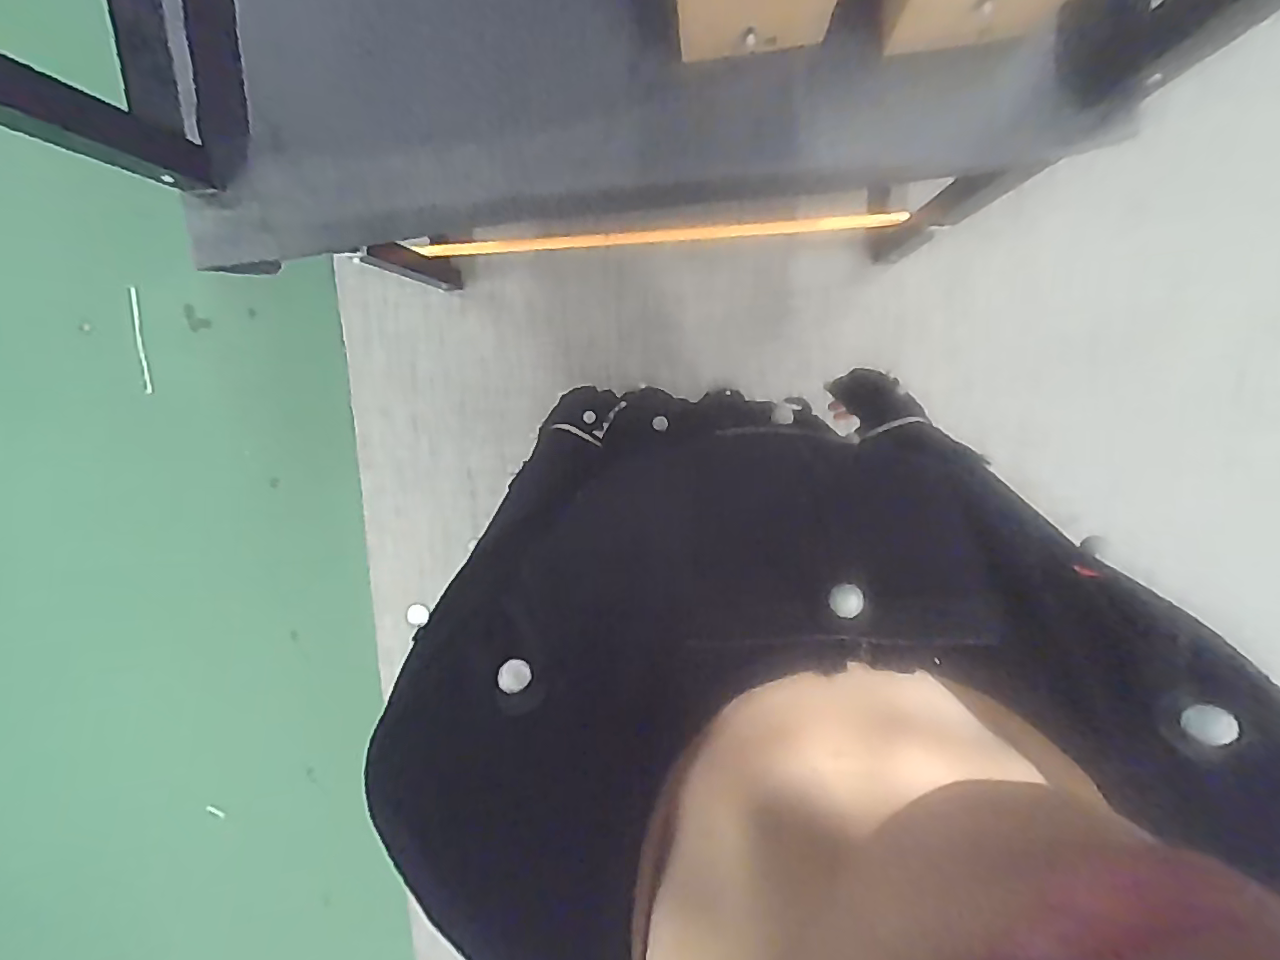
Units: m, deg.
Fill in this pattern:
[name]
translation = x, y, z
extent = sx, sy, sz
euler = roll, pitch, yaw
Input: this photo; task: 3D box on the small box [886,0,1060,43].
[small box]
translation = 0.349, -0.565, 0.523
extent = 0.168, 0.176, 0.179
euler = -2, 99, 7
